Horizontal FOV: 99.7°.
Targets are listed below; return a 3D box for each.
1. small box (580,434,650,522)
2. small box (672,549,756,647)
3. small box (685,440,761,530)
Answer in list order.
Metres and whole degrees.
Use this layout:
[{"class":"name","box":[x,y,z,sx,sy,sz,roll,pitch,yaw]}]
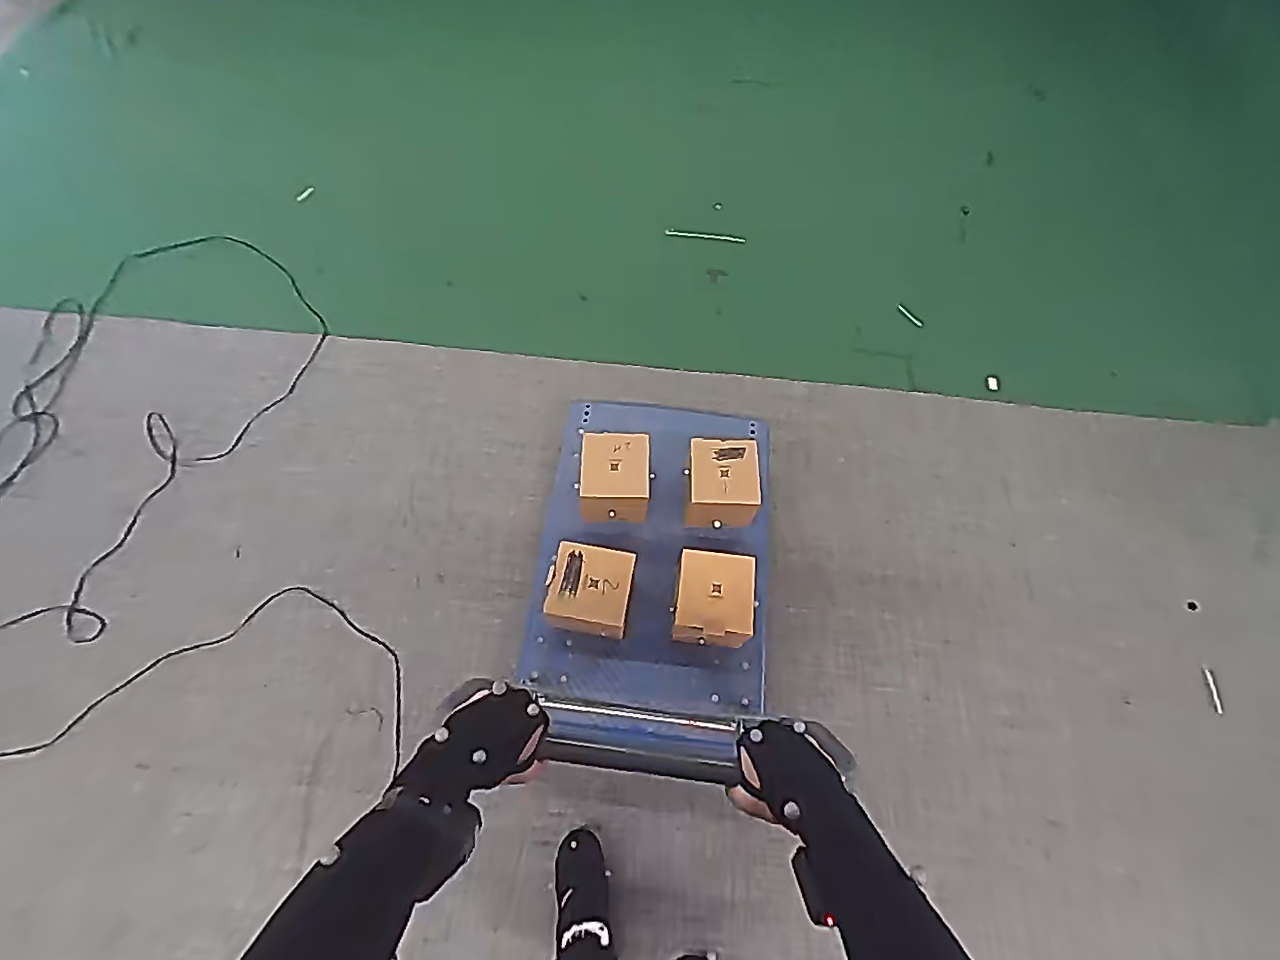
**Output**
[{"class":"small box","box":[-0.061,0.000,1.379,0.168,0.176,0.179,2,65,-2]},{"class":"small box","box":[0.167,0.278,1.255,0.168,0.176,0.179,7,65,2]},{"class":"small box","box":[0.205,0.015,1.380,0.168,0.176,0.179,2,65,0]}]
